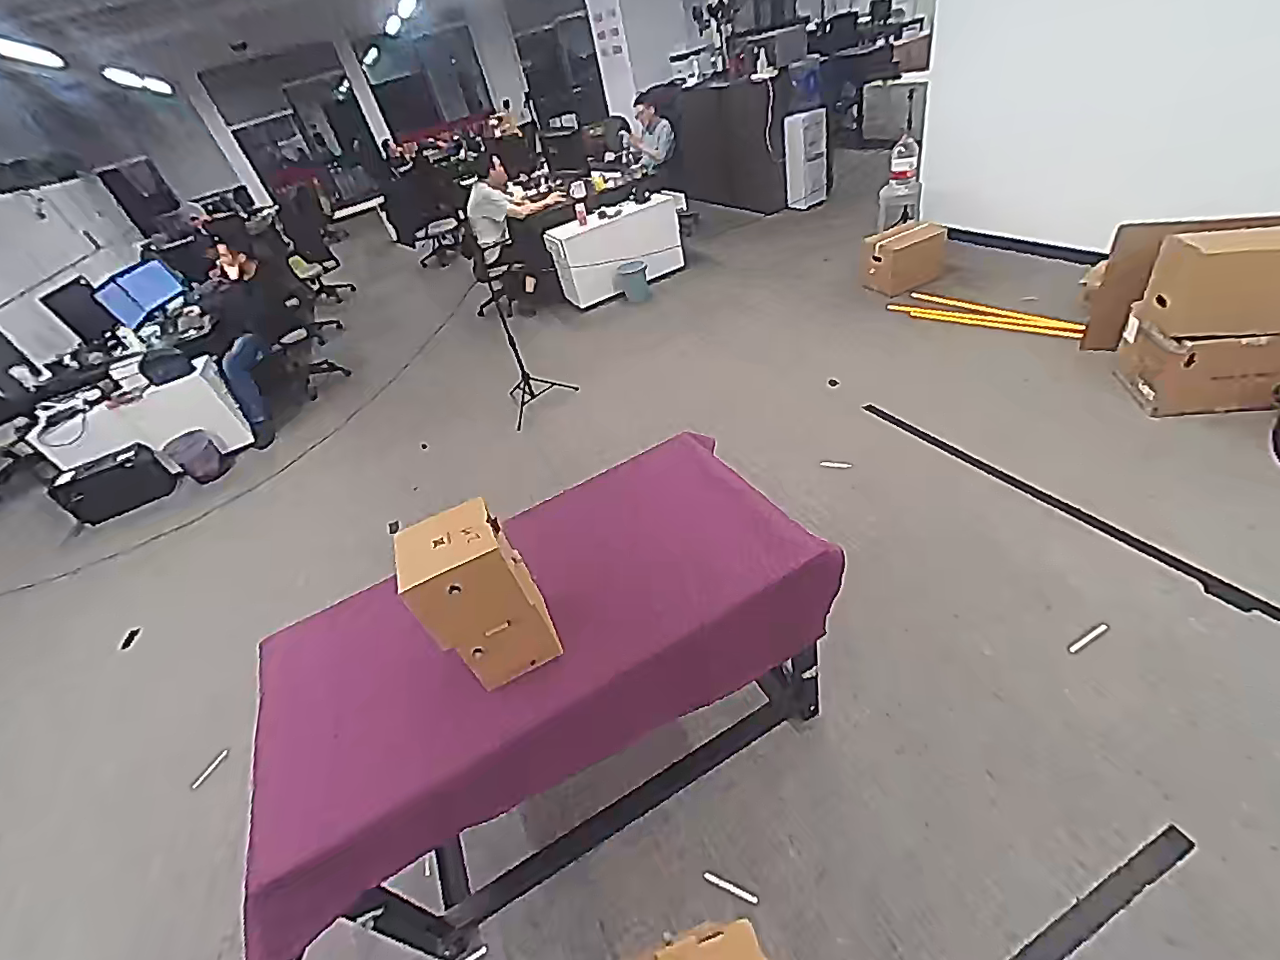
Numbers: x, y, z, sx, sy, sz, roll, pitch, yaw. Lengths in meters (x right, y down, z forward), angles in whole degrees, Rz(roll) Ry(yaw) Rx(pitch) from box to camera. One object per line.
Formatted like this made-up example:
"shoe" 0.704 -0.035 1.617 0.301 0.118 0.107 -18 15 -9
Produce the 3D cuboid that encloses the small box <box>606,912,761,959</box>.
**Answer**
"small box" 0.049 0.586 0.560 0.168 0.176 0.179 -9 50 -18

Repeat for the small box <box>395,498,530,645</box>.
"small box" -0.327 0.170 0.999 0.179 0.176 0.168 -24 39 -11
